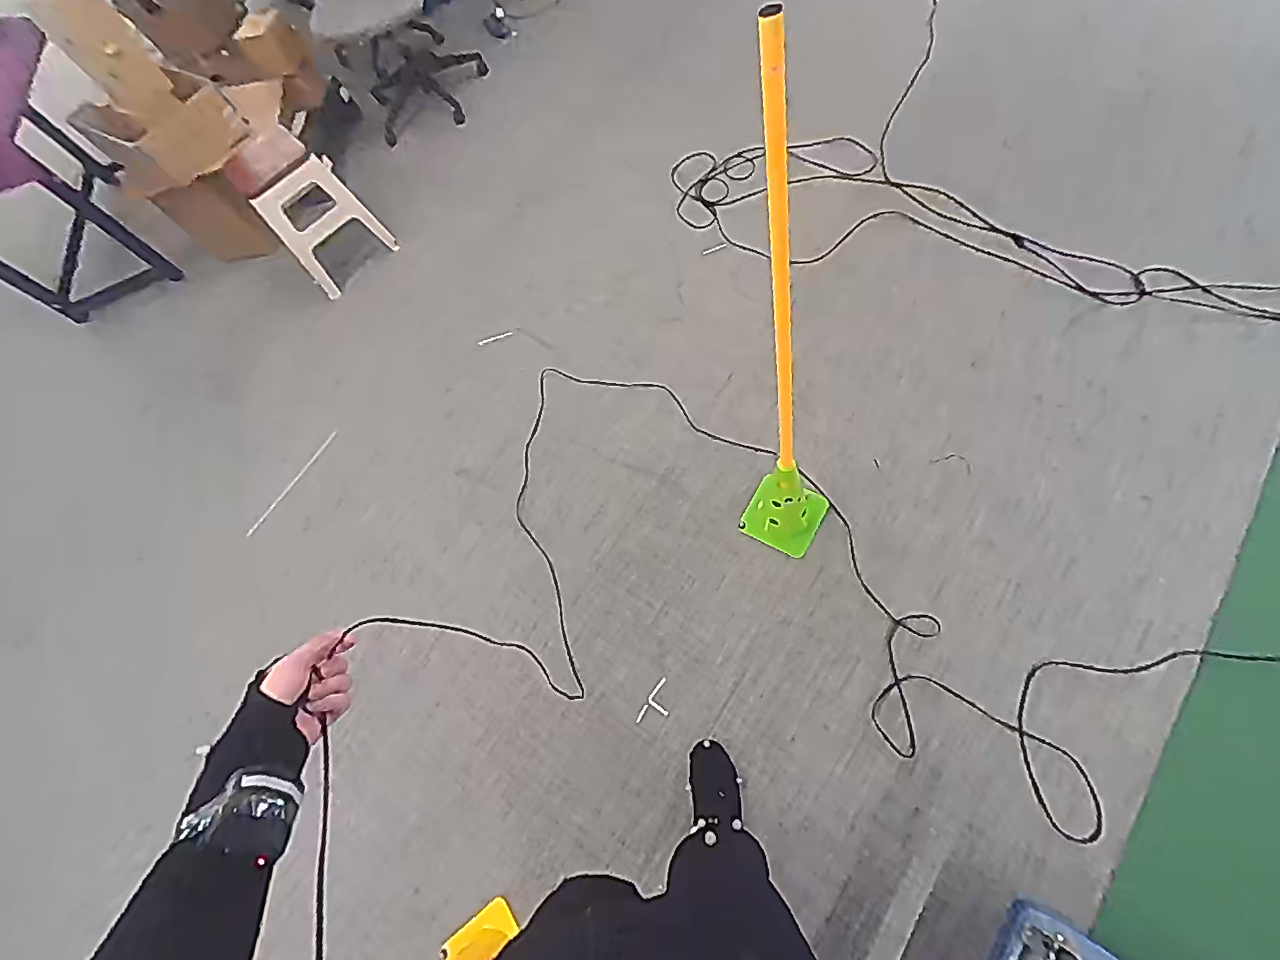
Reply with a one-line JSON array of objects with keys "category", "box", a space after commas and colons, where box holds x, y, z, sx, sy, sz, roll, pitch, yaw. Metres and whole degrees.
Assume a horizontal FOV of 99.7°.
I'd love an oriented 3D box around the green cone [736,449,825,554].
[{"category": "green cone", "box": [0.366, 0.024, 1.387, 0.200, 0.368, 0.202, 25, 74, 21]}]
